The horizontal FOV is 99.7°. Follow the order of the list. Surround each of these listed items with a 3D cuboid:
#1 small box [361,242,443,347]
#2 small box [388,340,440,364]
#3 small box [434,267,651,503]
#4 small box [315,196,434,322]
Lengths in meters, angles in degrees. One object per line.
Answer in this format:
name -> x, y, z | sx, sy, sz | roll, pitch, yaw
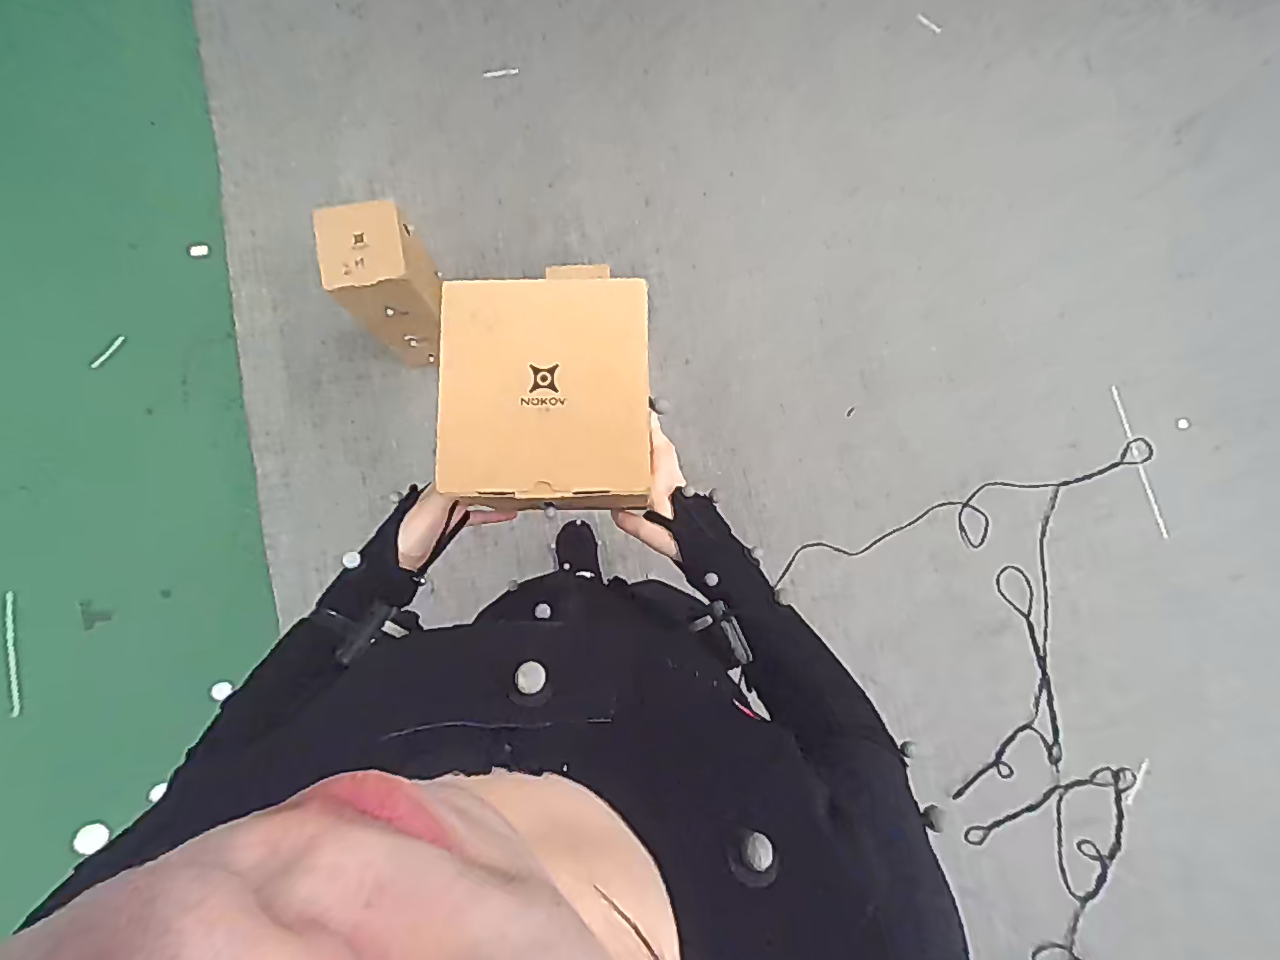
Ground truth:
small box -> -0.566, -0.444, 1.312 | 0.168, 0.176, 0.179 | -11, 85, -3
small box -> -0.578, -0.425, 1.473 | 0.168, 0.176, 0.179 | -8, 84, -4
small box -> -0.075, -0.072, 0.496 | 0.168, 0.176, 0.179 | -1, 84, 1
small box -> -0.556, -0.461, 1.148 | 0.168, 0.176, 0.179 | -11, 84, -3
